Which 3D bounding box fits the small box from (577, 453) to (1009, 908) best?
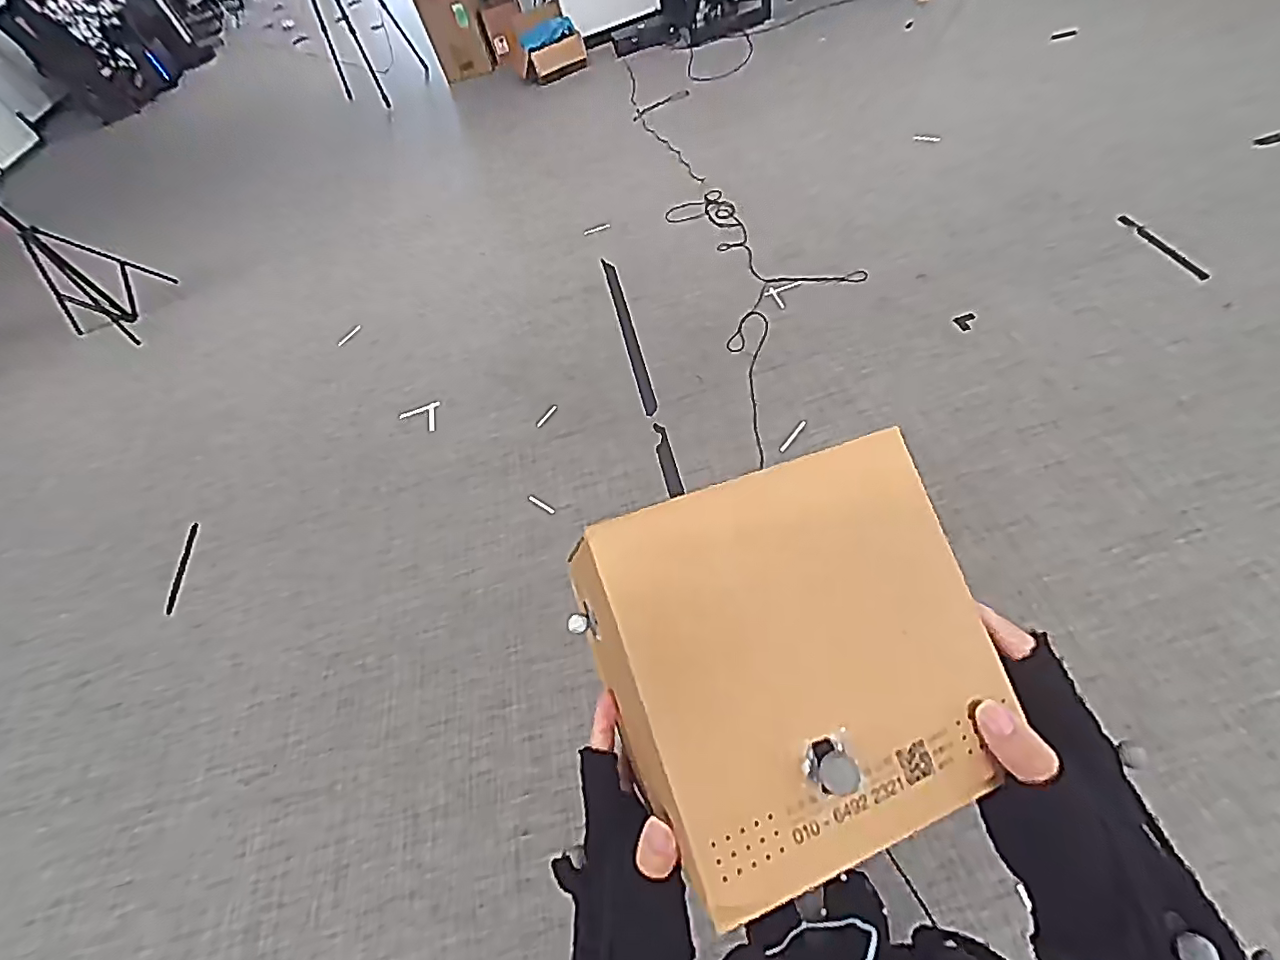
[{"bbox_3d":[0.066,0.104,0.331,0.168,0.179,0.176,-18,81,-13],"label":"small box"}]
